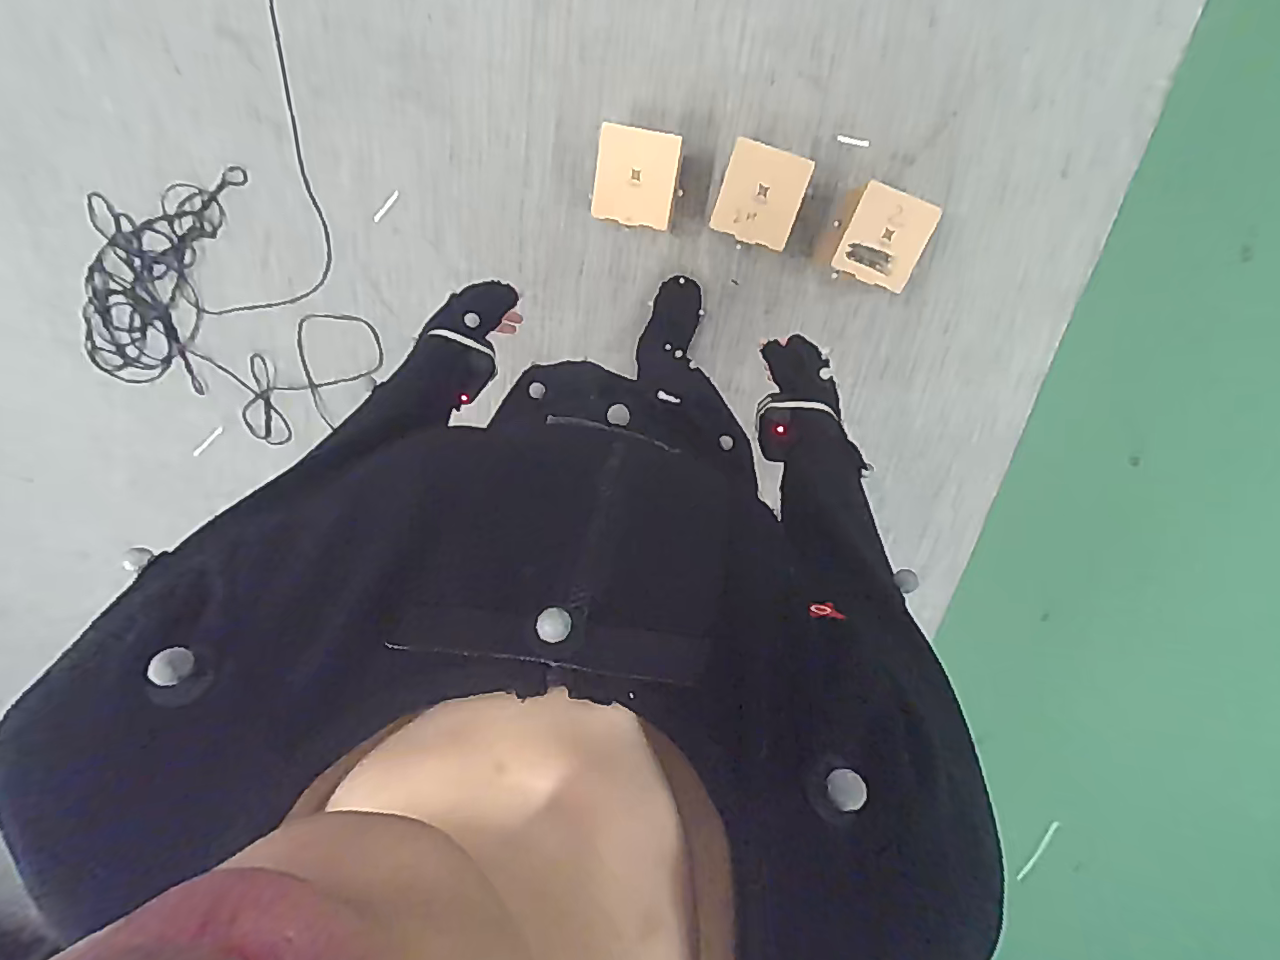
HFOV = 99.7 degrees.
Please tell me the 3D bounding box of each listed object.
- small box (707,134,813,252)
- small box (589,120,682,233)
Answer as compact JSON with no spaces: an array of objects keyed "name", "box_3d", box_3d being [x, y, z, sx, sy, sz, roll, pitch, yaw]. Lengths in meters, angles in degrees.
[{"name":"small box","box_3d":[0.247,-0.608,1.167,0.168,0.176,0.179,18,112,-2]},{"name":"small box","box_3d":[-0.007,-0.647,1.174,0.168,0.176,0.179,11,112,1]}]
